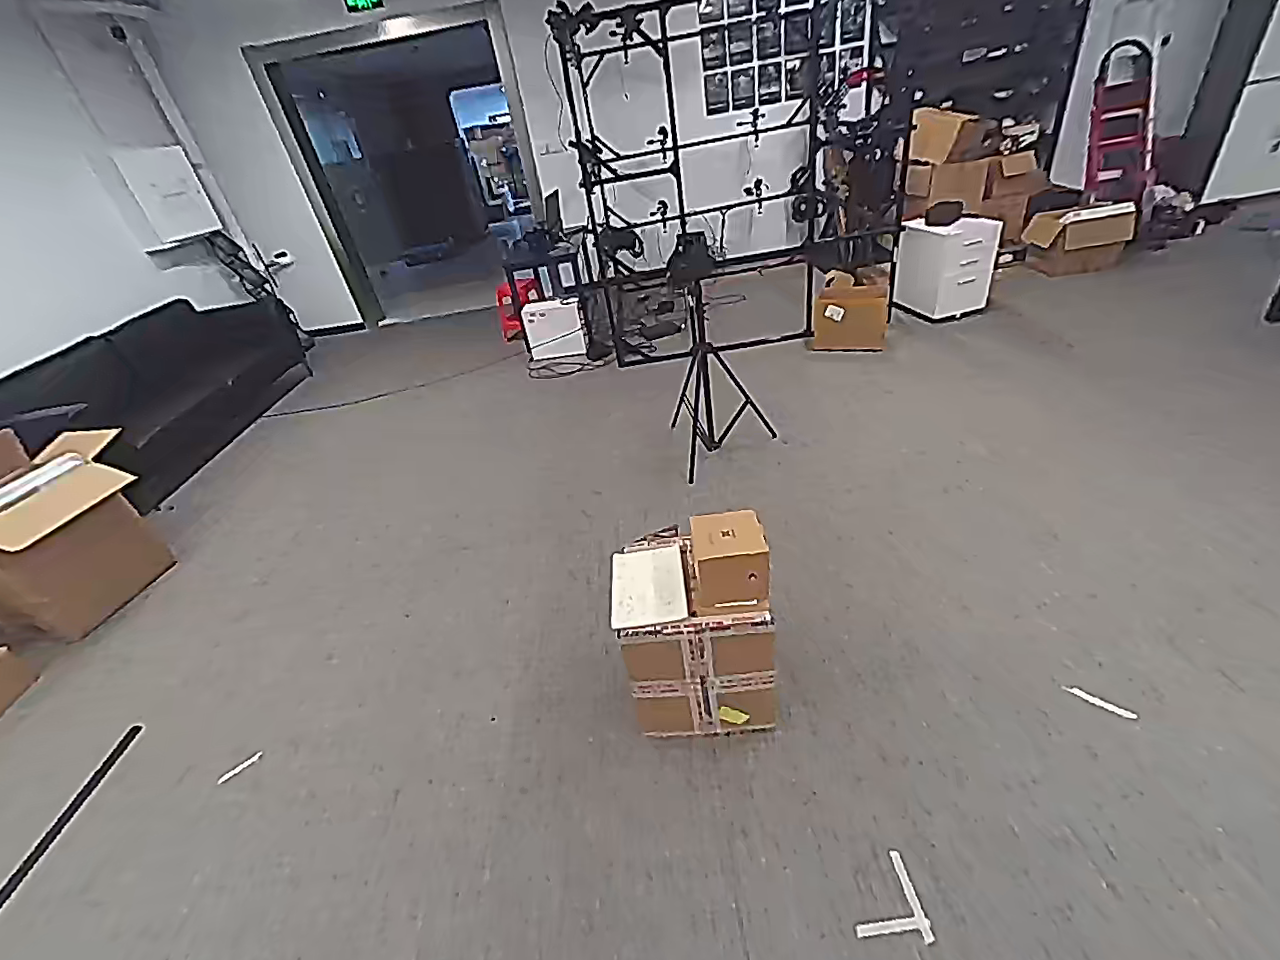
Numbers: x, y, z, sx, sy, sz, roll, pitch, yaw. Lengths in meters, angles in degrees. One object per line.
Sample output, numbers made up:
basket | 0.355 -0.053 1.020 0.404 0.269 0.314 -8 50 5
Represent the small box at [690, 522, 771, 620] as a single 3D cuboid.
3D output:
small box | 0.226 0.232 1.373 0.179 0.176 0.168 -8 35 1
